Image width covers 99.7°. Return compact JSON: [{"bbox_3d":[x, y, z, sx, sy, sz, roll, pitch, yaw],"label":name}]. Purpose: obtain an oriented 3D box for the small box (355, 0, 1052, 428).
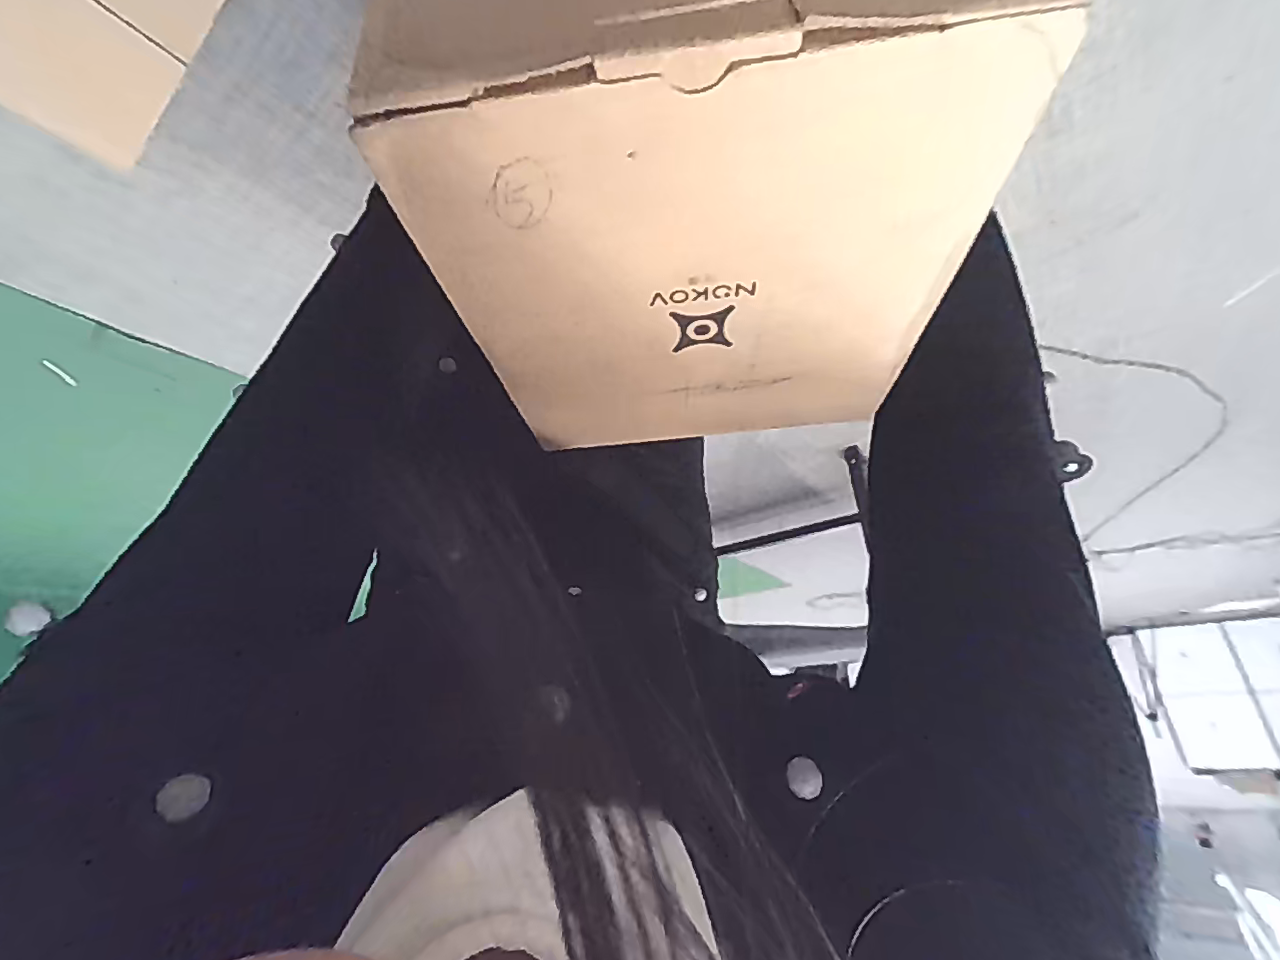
[{"bbox_3d":[0.017,-0.142,0.228,0.168,0.176,0.179,-4,158,7],"label":"small box"}]
